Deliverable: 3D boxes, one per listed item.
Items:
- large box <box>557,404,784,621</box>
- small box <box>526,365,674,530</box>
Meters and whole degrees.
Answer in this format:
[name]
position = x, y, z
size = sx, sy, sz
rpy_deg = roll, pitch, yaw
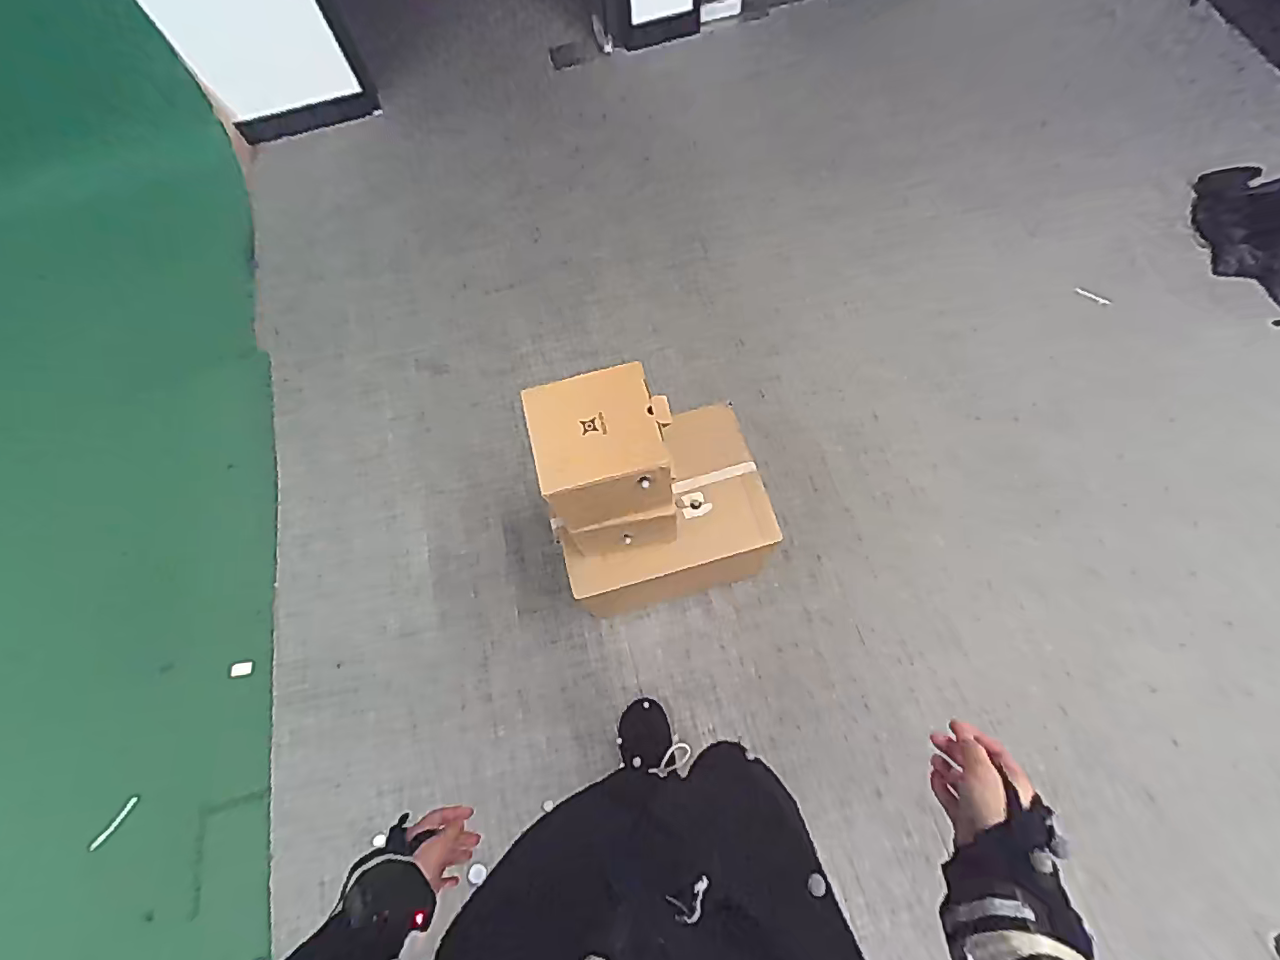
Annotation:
[large box]
position = 0.045, 0.087, 1.184
size = 0.408, 0.320, 0.320
rpy_deg = -16, 69, -4
[small box]
position = -0.053, -0.039, 0.802
size = 0.179, 0.176, 0.168
rpy_deg = -15, 68, -2
